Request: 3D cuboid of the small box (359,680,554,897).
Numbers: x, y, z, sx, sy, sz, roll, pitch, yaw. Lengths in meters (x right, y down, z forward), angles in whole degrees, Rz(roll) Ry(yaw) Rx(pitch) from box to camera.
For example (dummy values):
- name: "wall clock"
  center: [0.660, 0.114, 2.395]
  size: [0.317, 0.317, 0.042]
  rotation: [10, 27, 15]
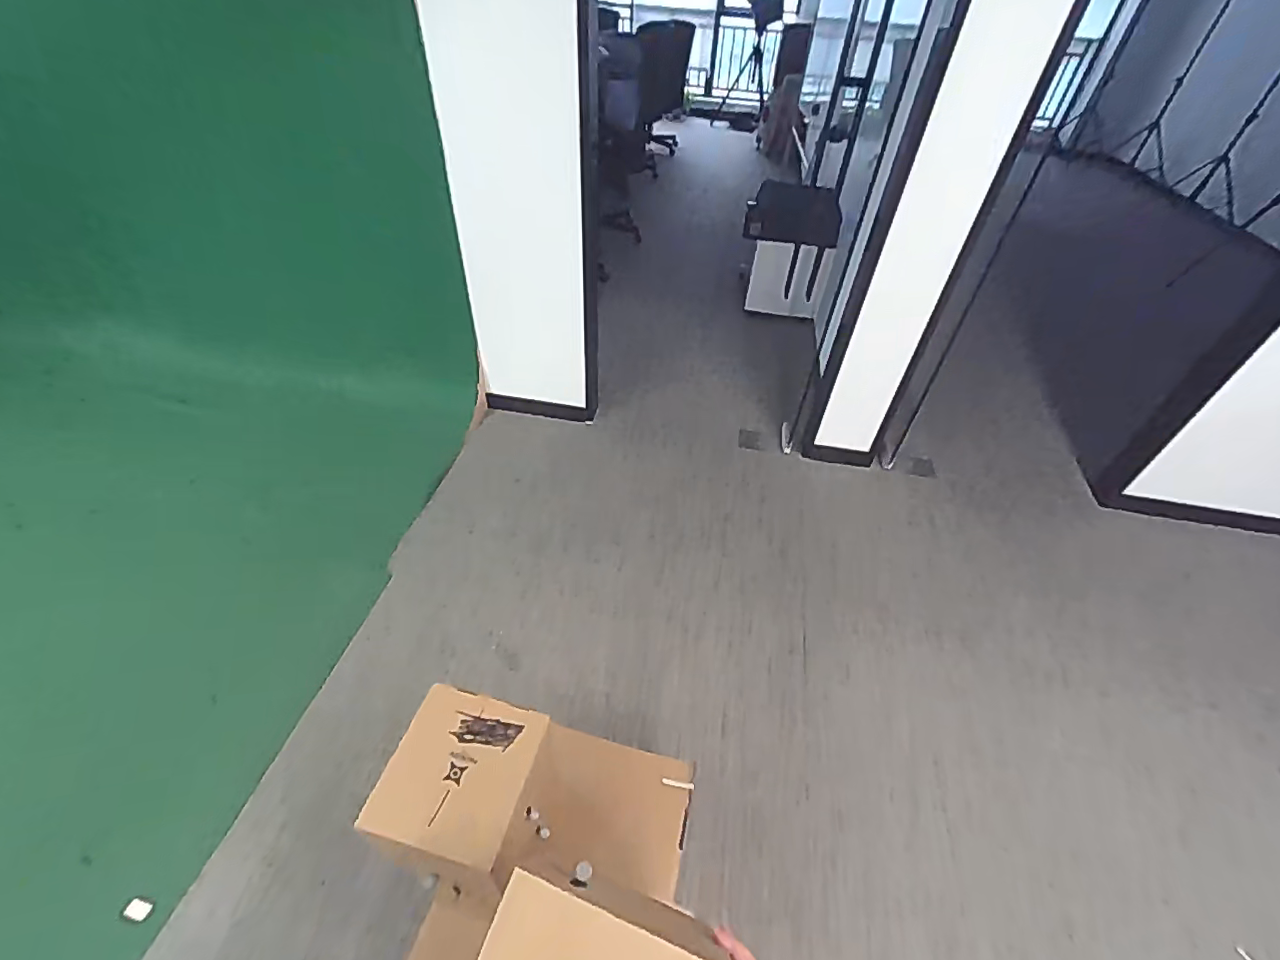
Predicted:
- name: "small box"
  center: [-0.218, 0.395, 0.697]
  size: [0.168, 0.176, 0.179]
  rotation: [12, 44, 9]

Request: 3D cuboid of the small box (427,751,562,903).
- name: "small box"
  center: [-0.224, 0.507, 0.817]
  size: [0.168, 0.176, 0.179]
  rotation: [12, 44, 8]

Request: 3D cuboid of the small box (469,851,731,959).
- name: "small box"
  center: [-0.041, 0.412, 0.414]
  size: [0.179, 0.176, 0.168]
  rotation: [18, 62, 13]

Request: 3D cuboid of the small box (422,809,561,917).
- name: "small box"
  center: [-0.238, 0.629, 0.925]
  size: [0.168, 0.176, 0.179]
  rotation: [12, 42, 9]
